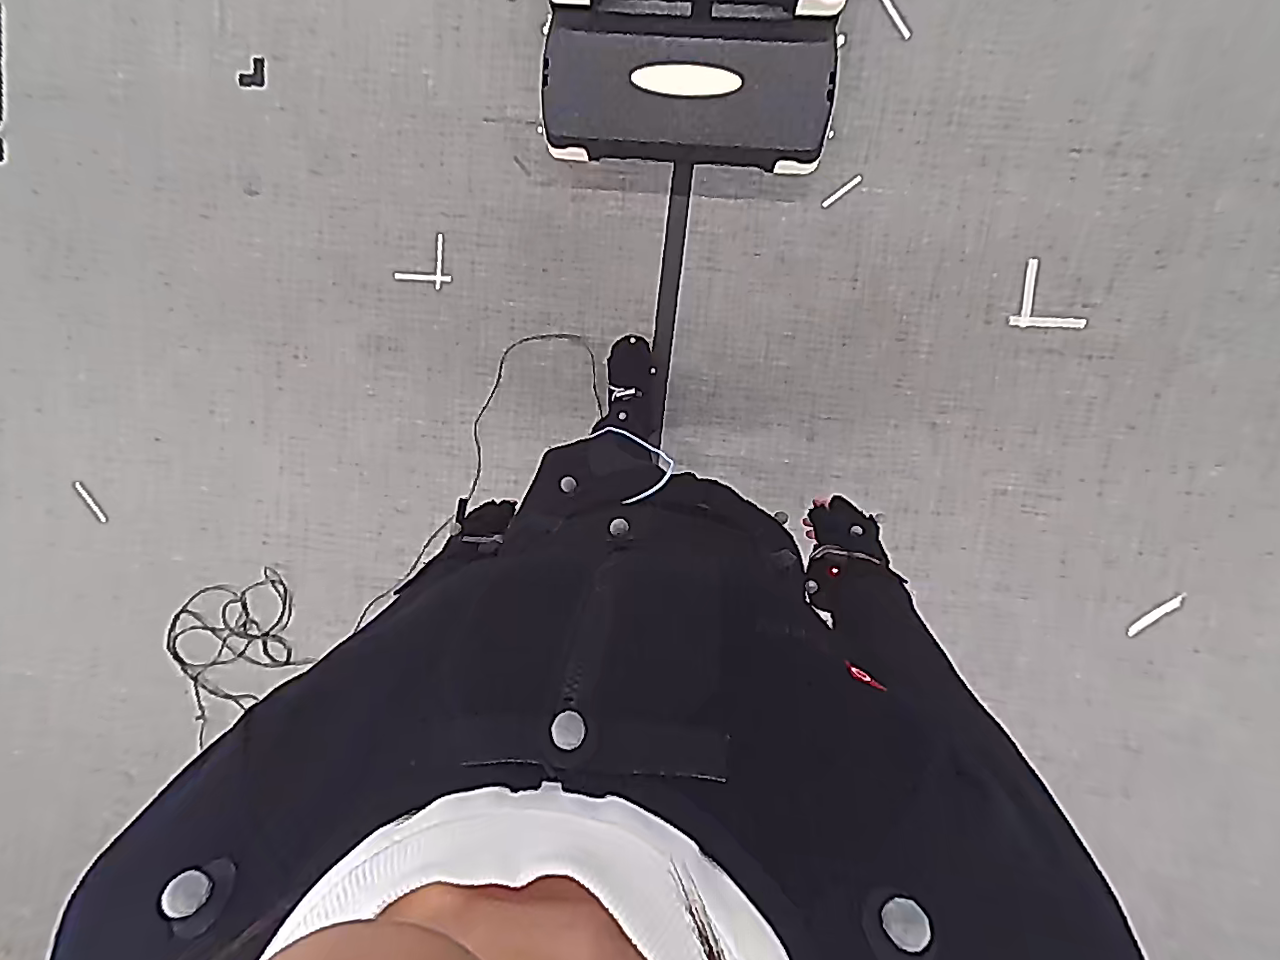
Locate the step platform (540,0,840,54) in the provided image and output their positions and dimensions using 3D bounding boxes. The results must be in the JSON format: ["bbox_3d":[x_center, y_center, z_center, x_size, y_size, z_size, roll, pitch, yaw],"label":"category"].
[{"bbox_3d":[0.110,-1.154,1.182,0.684,0.204,0.286,5,98,3],"label":"step platform"}]
